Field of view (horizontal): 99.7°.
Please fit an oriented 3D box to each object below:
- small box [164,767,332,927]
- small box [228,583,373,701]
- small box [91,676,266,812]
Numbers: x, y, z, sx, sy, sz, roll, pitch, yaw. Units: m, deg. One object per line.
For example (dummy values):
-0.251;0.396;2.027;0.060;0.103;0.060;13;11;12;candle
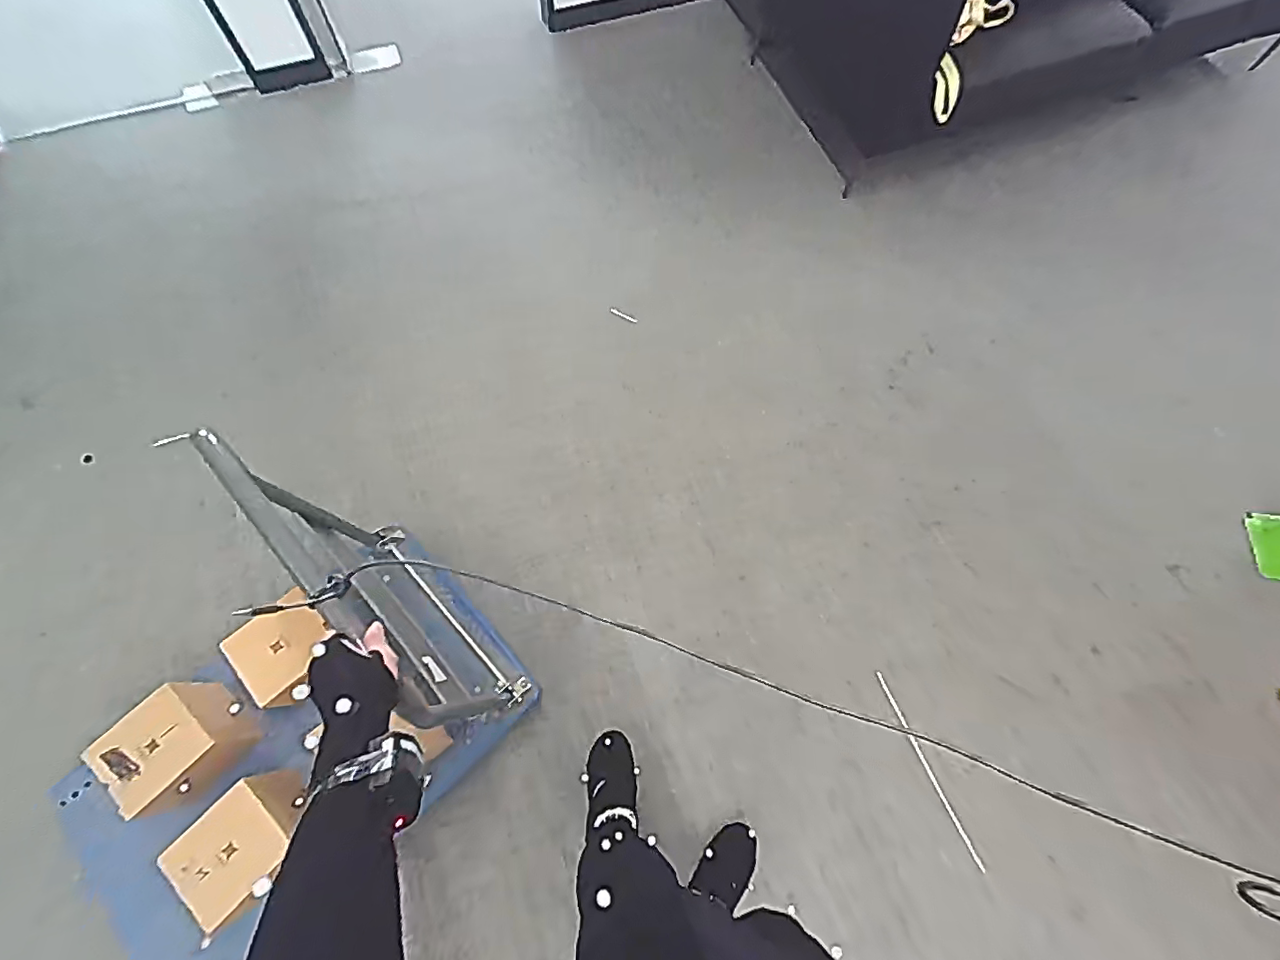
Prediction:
-0.733;0.686;1.041;0.168;0.176;0.179;41;73;13;small box
-0.723;0.355;1.171;0.179;0.176;0.168;-40;76;-16;small box
-0.919;0.525;1.095;0.168;0.176;0.179;41;72;12;small box
